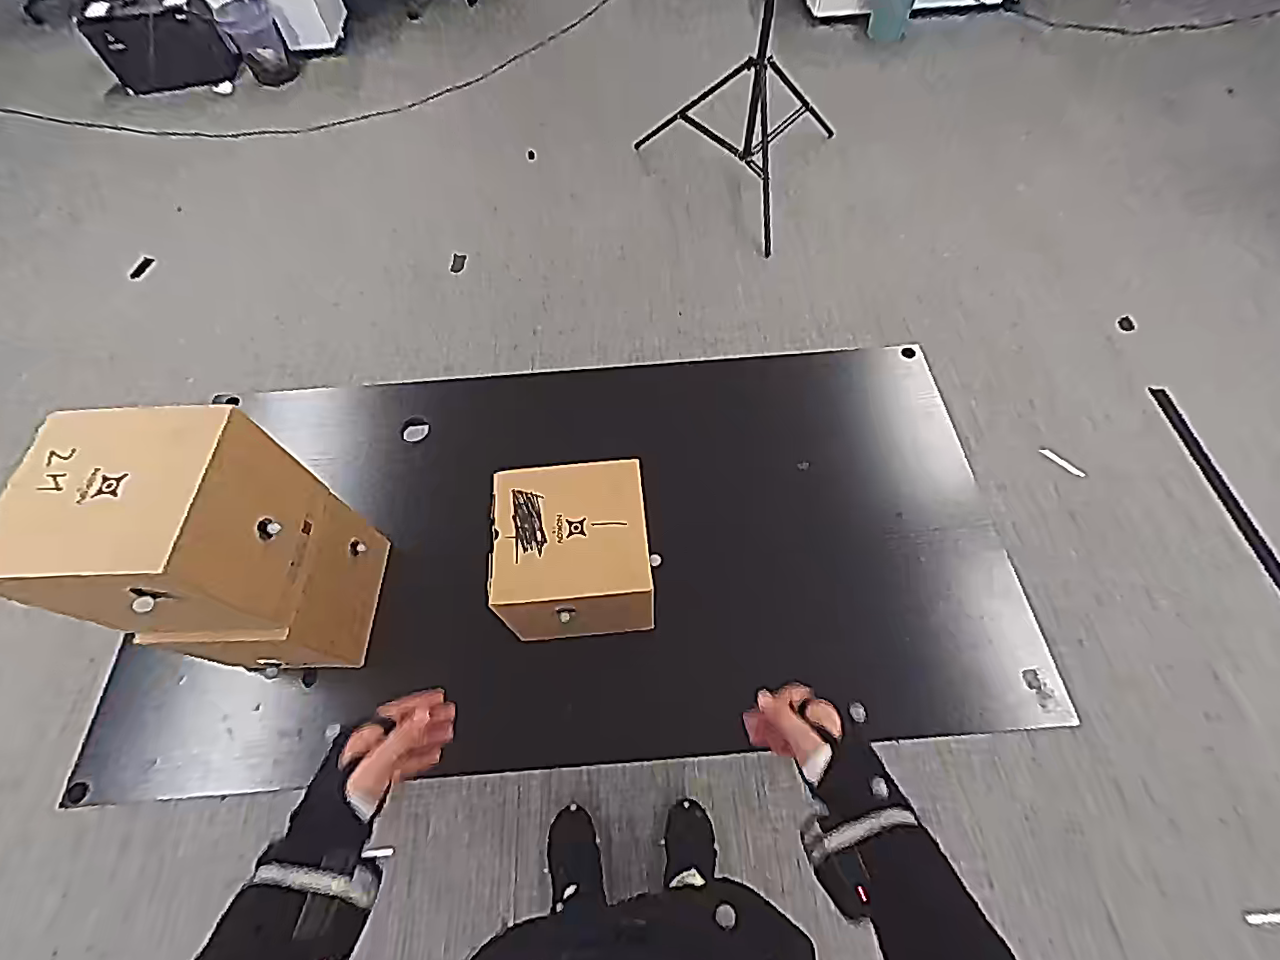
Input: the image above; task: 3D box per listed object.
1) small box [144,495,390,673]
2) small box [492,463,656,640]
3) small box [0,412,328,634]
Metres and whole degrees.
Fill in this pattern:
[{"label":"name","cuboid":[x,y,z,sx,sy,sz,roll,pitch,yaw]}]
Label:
[{"label":"small box","cuboid":[-0.436,0.134,0.672,0.168,0.176,0.179,-2,62,2]},{"label":"small box","cuboid":[-0.074,0.096,0.678,0.179,0.176,0.168,-5,61,-2]},{"label":"small box","cuboid":[-0.447,0.049,0.530,0.179,0.176,0.168,-2,61,2]}]
